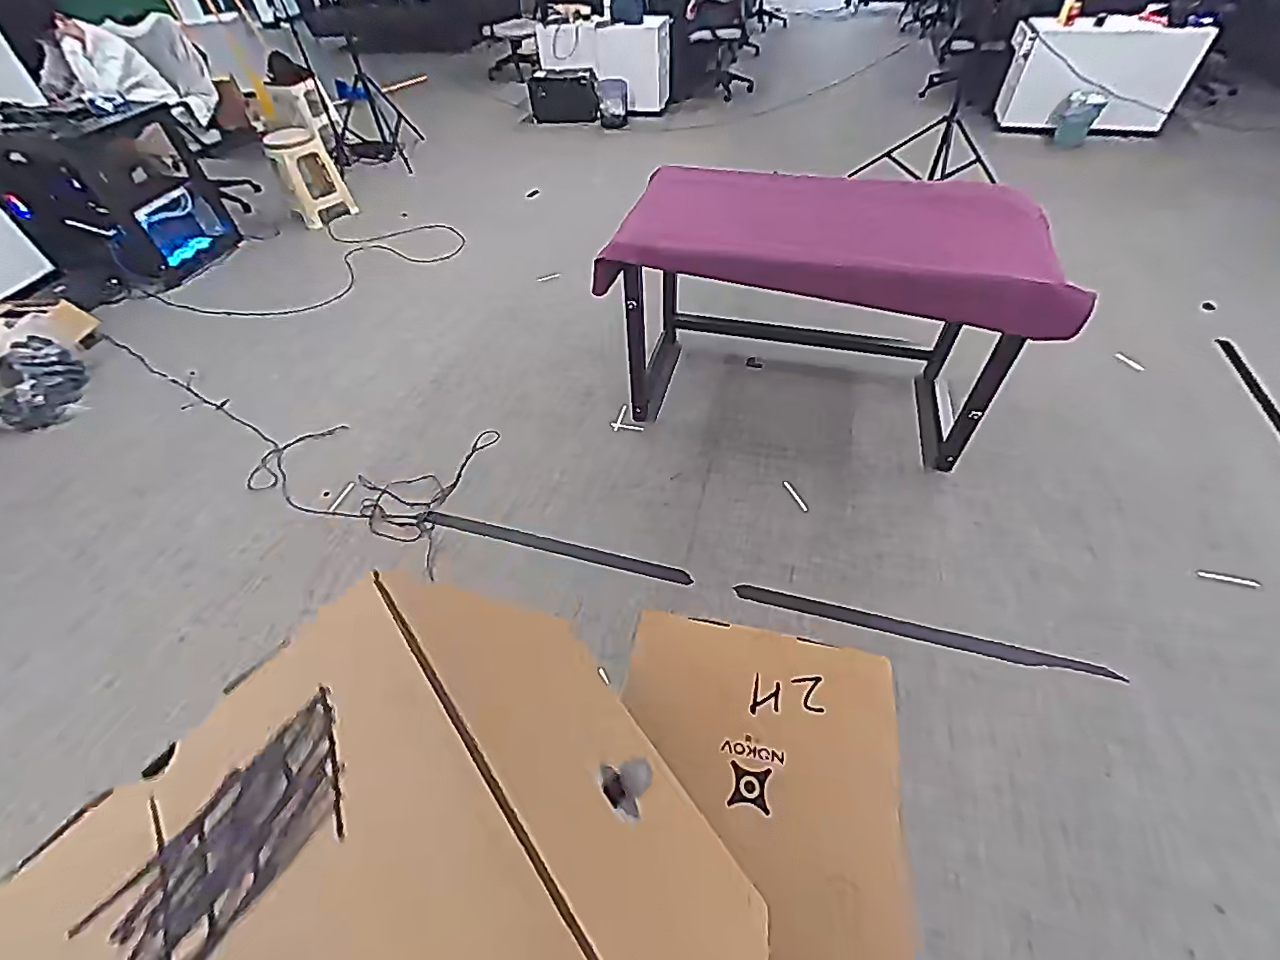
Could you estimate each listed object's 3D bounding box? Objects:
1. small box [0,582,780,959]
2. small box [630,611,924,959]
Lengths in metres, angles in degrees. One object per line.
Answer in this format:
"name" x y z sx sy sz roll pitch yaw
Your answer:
"small box" -0.064 0.167 0.204 0.168 0.176 0.179 -41 68 -4
"small box" 0.069 0.218 0.369 0.168 0.176 0.179 9 50 7
